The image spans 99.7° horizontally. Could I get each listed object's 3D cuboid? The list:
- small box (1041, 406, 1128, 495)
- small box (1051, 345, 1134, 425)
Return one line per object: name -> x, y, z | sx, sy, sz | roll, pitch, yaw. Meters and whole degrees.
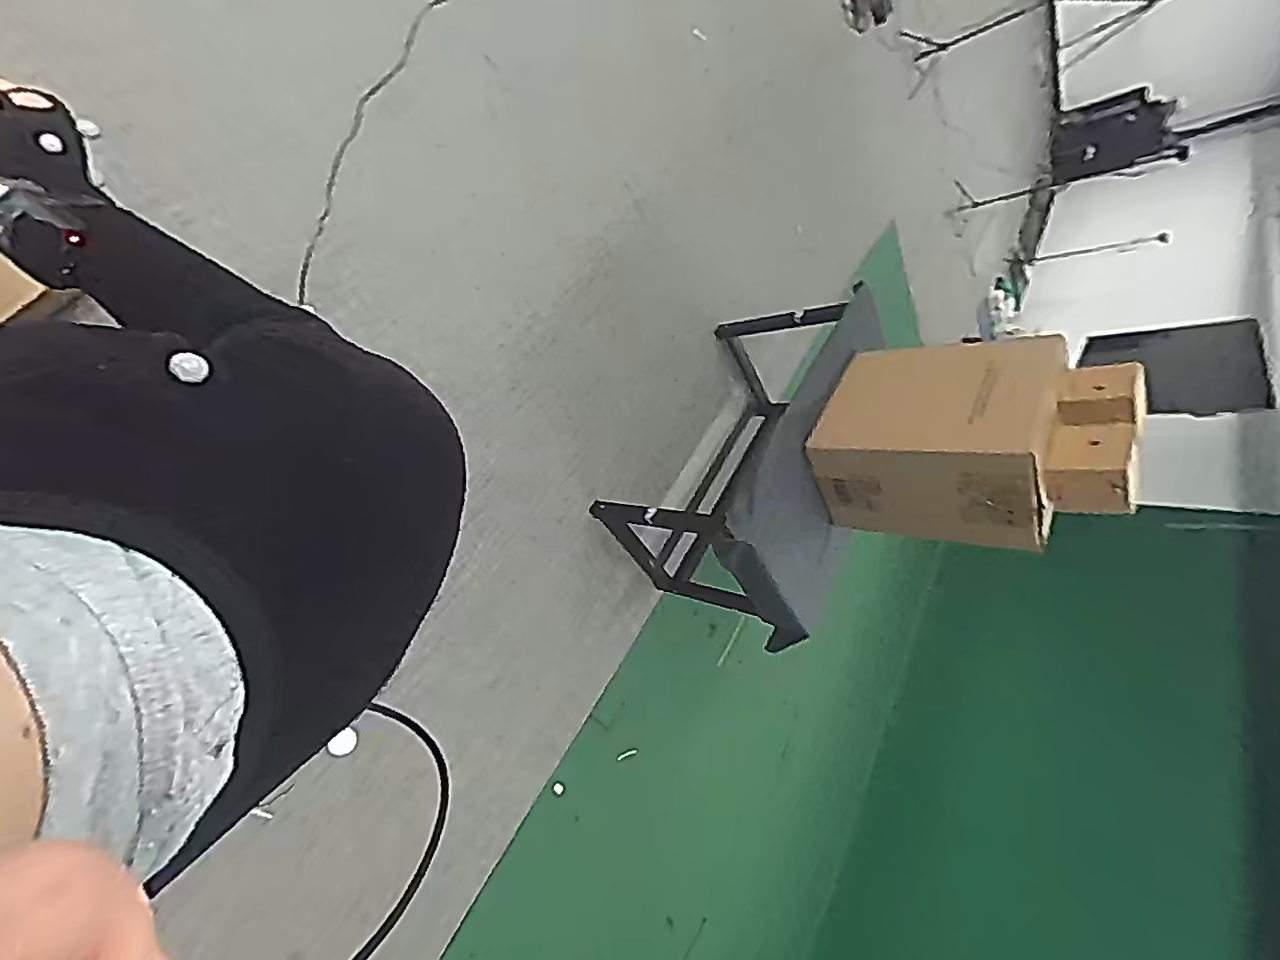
small box -> 1.207, -0.078, 1.468 | 0.168, 0.176, 0.179 | 52, 56, -30
small box -> 1.331, -0.268, 1.591 | 0.168, 0.176, 0.179 | -52, 123, -29
